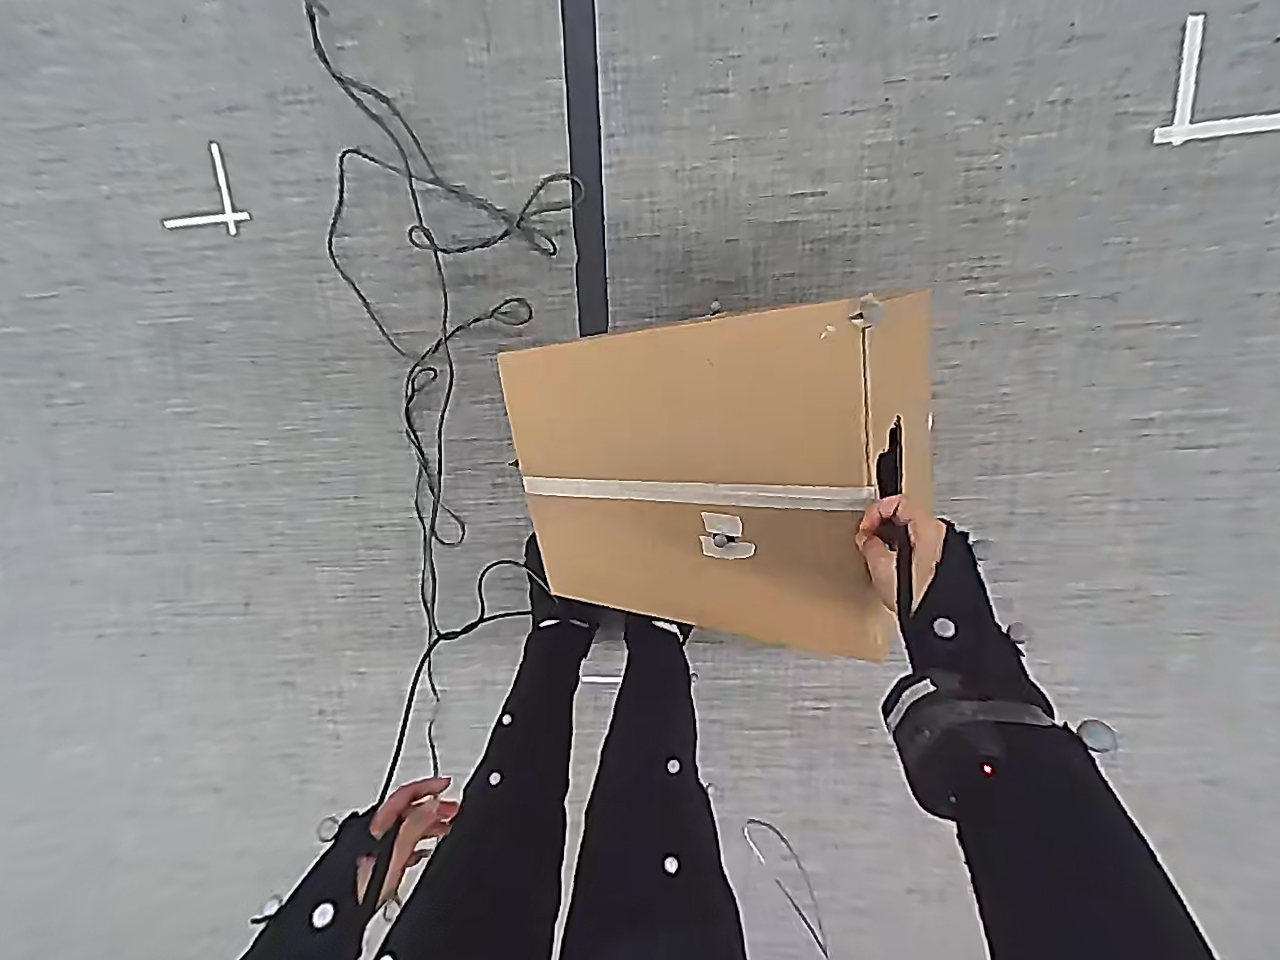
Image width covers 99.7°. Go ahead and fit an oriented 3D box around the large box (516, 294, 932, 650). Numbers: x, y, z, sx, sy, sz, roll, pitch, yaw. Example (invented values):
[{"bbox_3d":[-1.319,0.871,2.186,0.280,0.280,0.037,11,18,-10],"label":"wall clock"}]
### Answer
[{"bbox_3d":[0.119,-0.037,0.674,0.408,0.320,0.320,2,109,35],"label":"large box"}]
